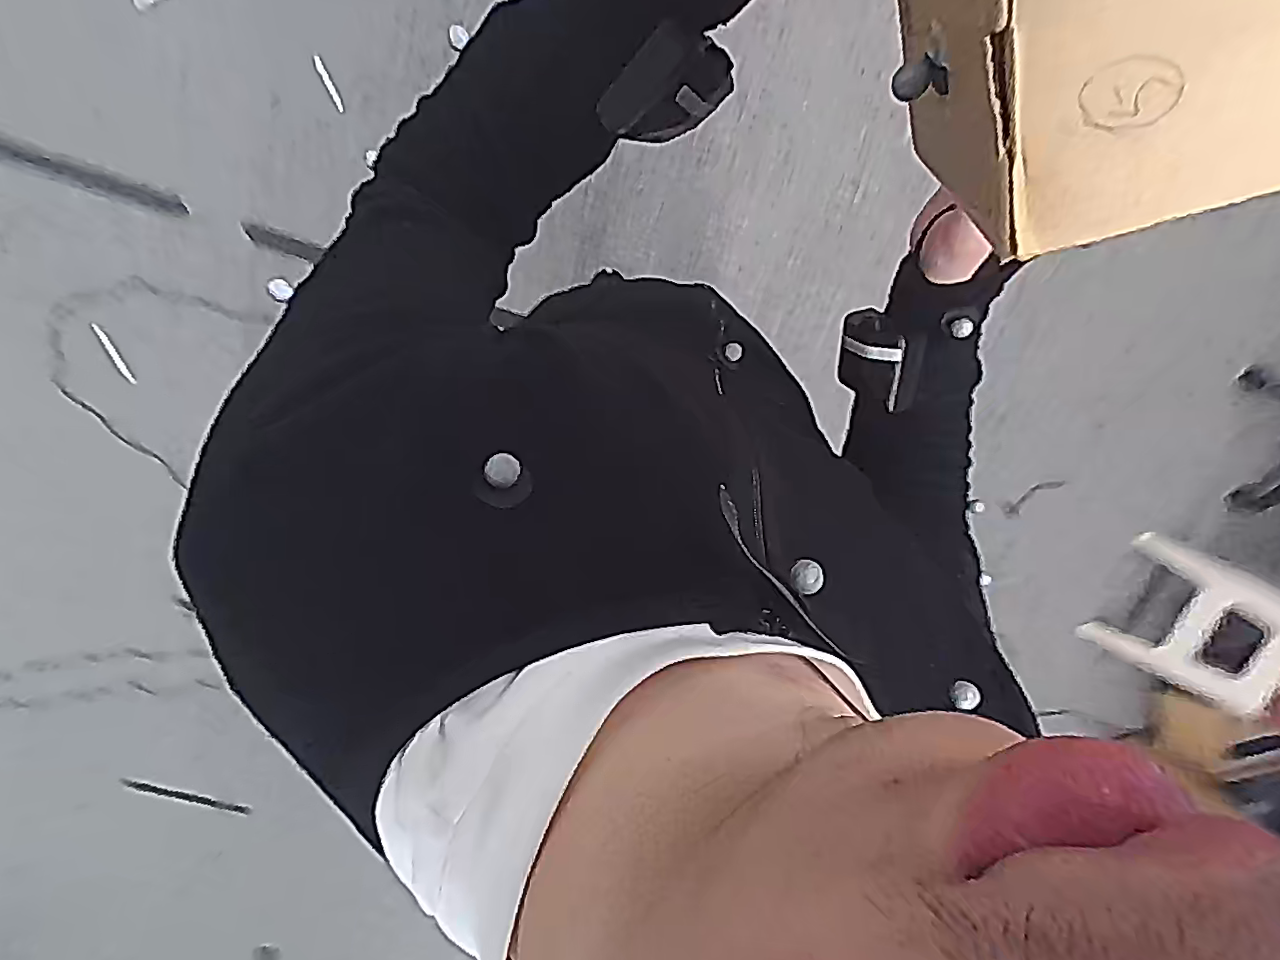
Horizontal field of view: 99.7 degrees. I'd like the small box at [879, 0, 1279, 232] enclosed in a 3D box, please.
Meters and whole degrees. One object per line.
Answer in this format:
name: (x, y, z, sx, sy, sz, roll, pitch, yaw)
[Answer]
small box: (0.163, -0.204, 0.152, 0.179, 0.176, 0.168, -12, 127, 25)
